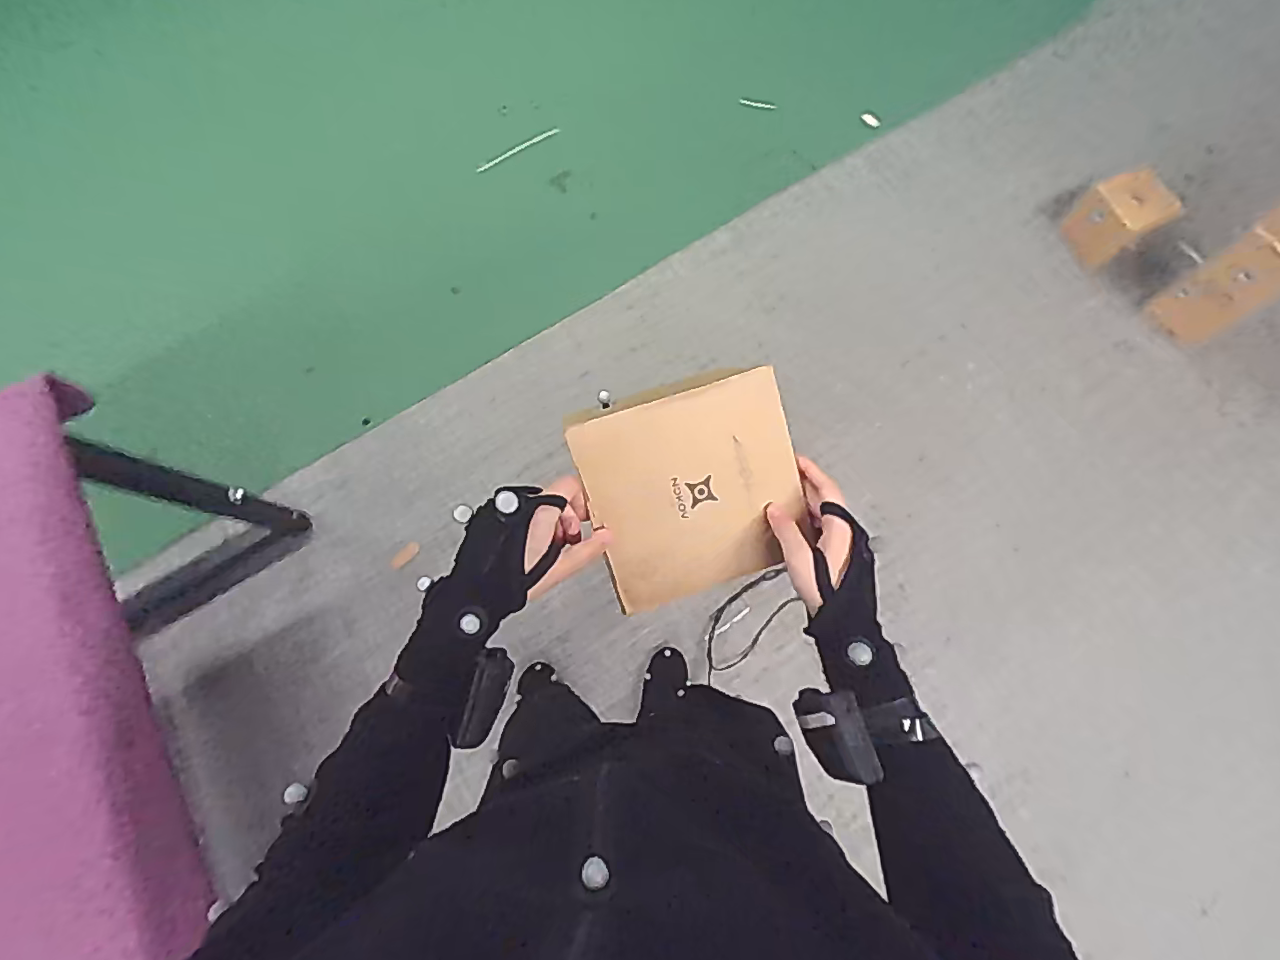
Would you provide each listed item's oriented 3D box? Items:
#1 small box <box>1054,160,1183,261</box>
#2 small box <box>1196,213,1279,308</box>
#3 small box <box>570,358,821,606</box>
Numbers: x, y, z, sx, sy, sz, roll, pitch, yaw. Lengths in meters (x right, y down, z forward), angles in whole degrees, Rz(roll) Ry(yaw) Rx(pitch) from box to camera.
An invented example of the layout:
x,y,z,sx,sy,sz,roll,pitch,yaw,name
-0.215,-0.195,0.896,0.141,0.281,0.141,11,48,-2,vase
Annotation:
x,y,z,sx,sy,sz,roll,pitch,yaw,name
1.339,-0.749,1.528,0.168,0.176,0.179,-21,72,-2,small box
1.504,-0.548,1.287,0.179,0.176,0.168,-35,75,-6,small box
0.039,-0.009,0.509,0.179,0.176,0.168,-17,102,-5,small box
